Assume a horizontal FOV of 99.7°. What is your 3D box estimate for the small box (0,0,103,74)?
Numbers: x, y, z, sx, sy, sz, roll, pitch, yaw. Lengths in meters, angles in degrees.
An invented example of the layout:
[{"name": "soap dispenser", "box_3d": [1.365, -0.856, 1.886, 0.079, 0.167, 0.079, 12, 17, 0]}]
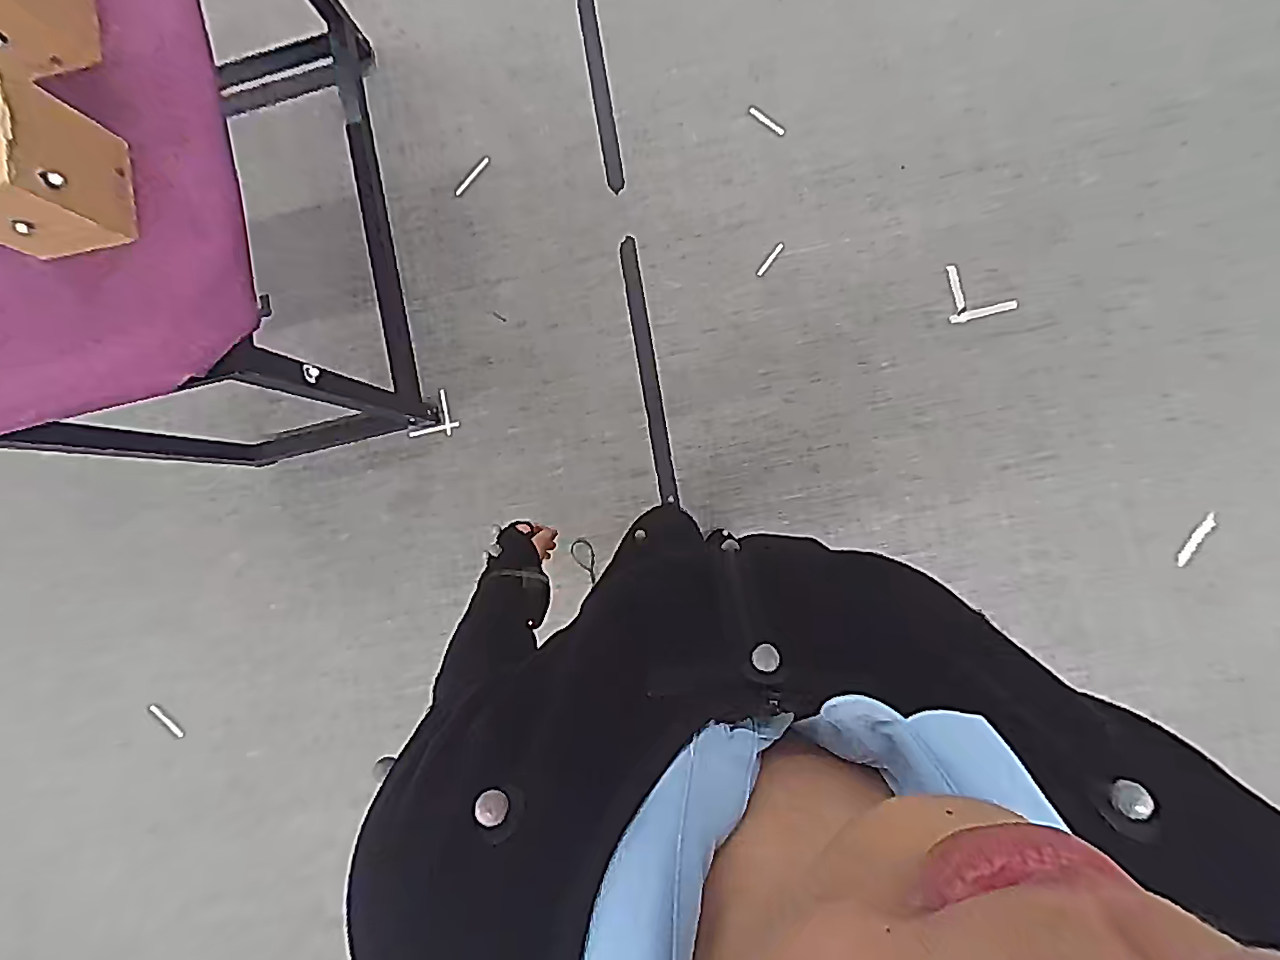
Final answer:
[{"name": "small box", "box_3d": [-0.970, -0.757, 0.815, 0.168, 0.176, 0.179, -8, 87, 5]}]
